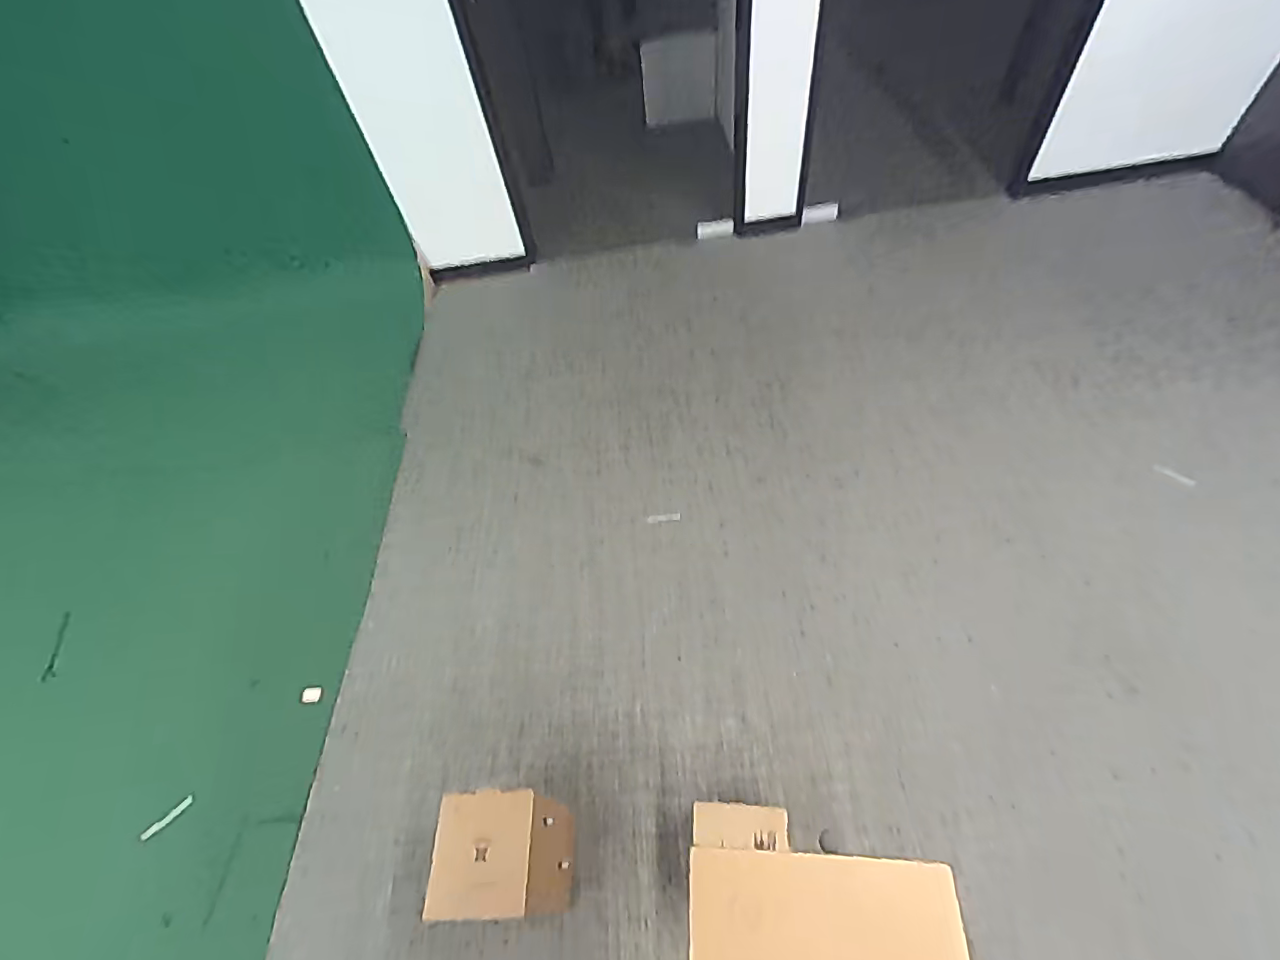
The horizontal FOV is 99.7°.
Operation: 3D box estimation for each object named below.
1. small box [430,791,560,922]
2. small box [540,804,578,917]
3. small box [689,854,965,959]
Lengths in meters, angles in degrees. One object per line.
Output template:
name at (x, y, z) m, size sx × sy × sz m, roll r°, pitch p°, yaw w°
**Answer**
small box at (-0.243, 0.663, 0.956) m, size 0.168 × 0.176 × 0.179 m, roll -6°, pitch 54°, yaw 5°
small box at (-0.226, 0.758, 1.088) m, size 0.168 × 0.176 × 0.179 m, roll -3°, pitch 54°, yaw 6°
small box at (0.116, 0.367, 0.370) m, size 0.168 × 0.176 × 0.179 m, roll -1°, pitch 57°, yaw 7°
